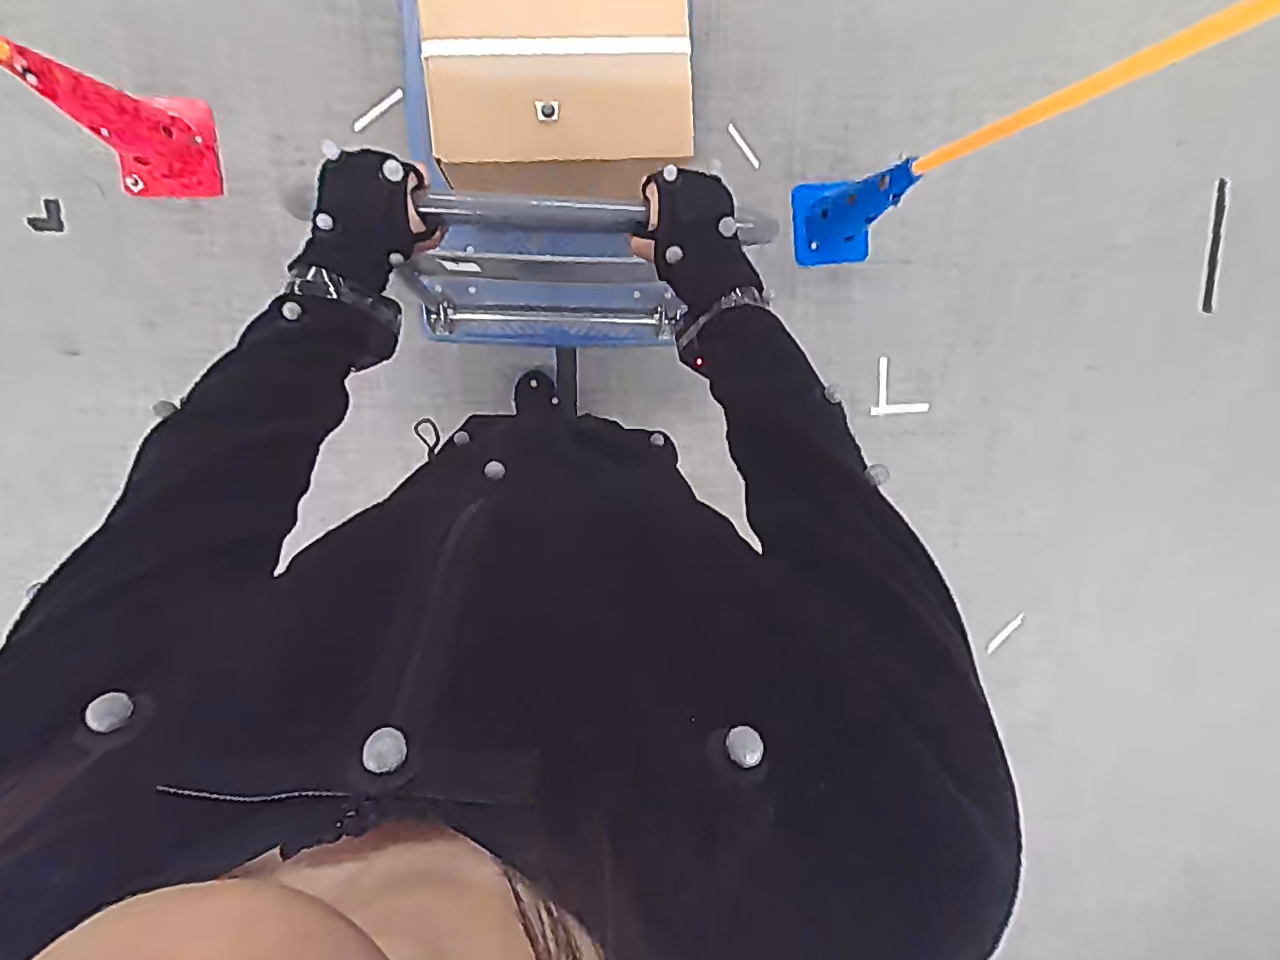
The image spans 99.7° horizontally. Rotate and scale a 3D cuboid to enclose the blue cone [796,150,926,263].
[{"bbox_3d":[0.518,-0.638,1.233,0.193,0.380,0.192,-6,99,-7],"label":"blue cone"}]
